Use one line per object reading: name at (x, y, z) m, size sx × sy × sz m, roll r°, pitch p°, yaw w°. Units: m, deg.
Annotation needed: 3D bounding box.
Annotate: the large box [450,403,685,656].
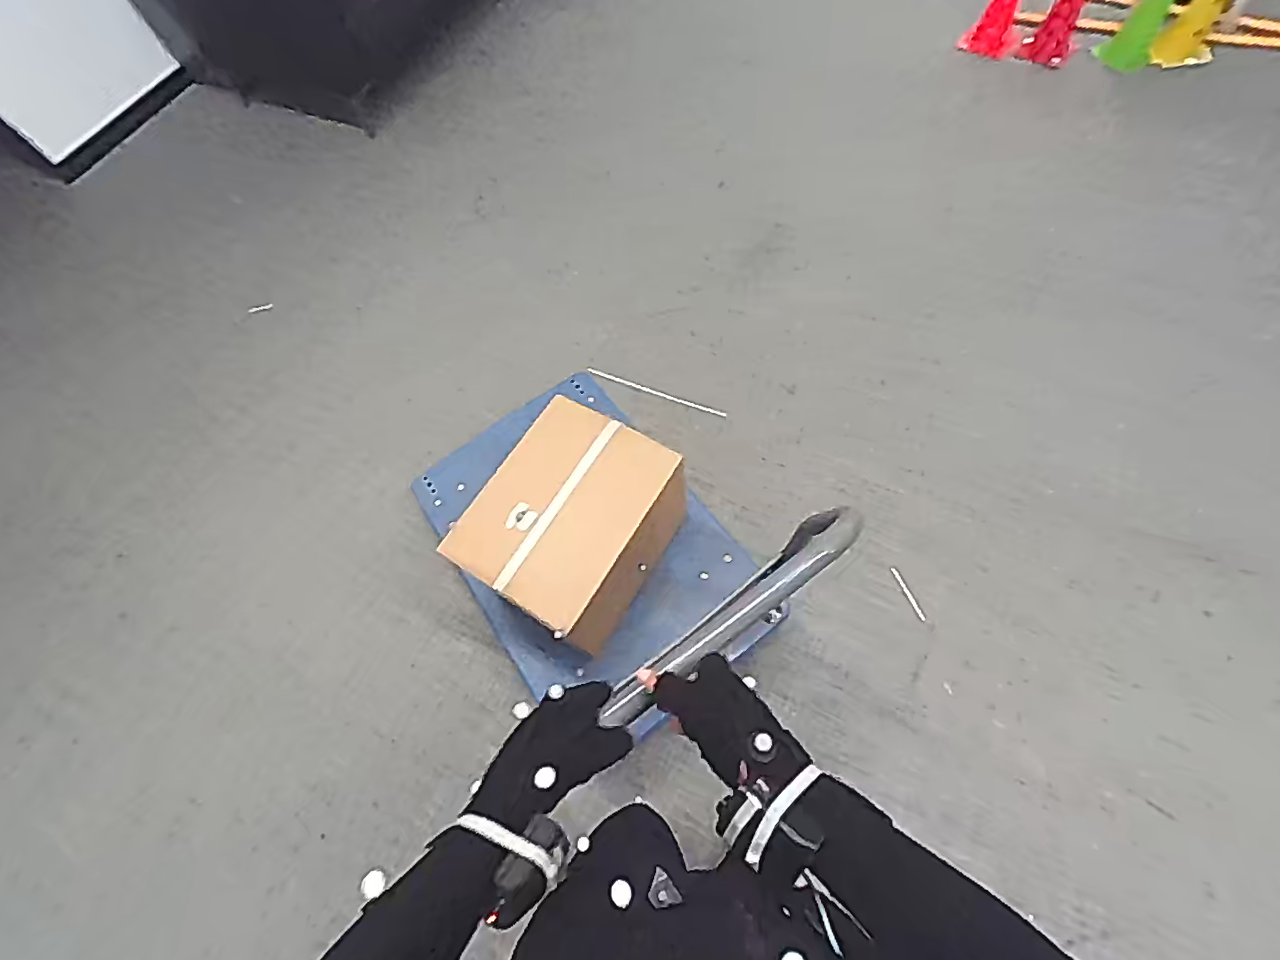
large box at (-0.124, 0.116, 1.188) m, size 0.320 × 0.320 × 0.408 m, roll 27°, pitch 72°, yaw 18°
